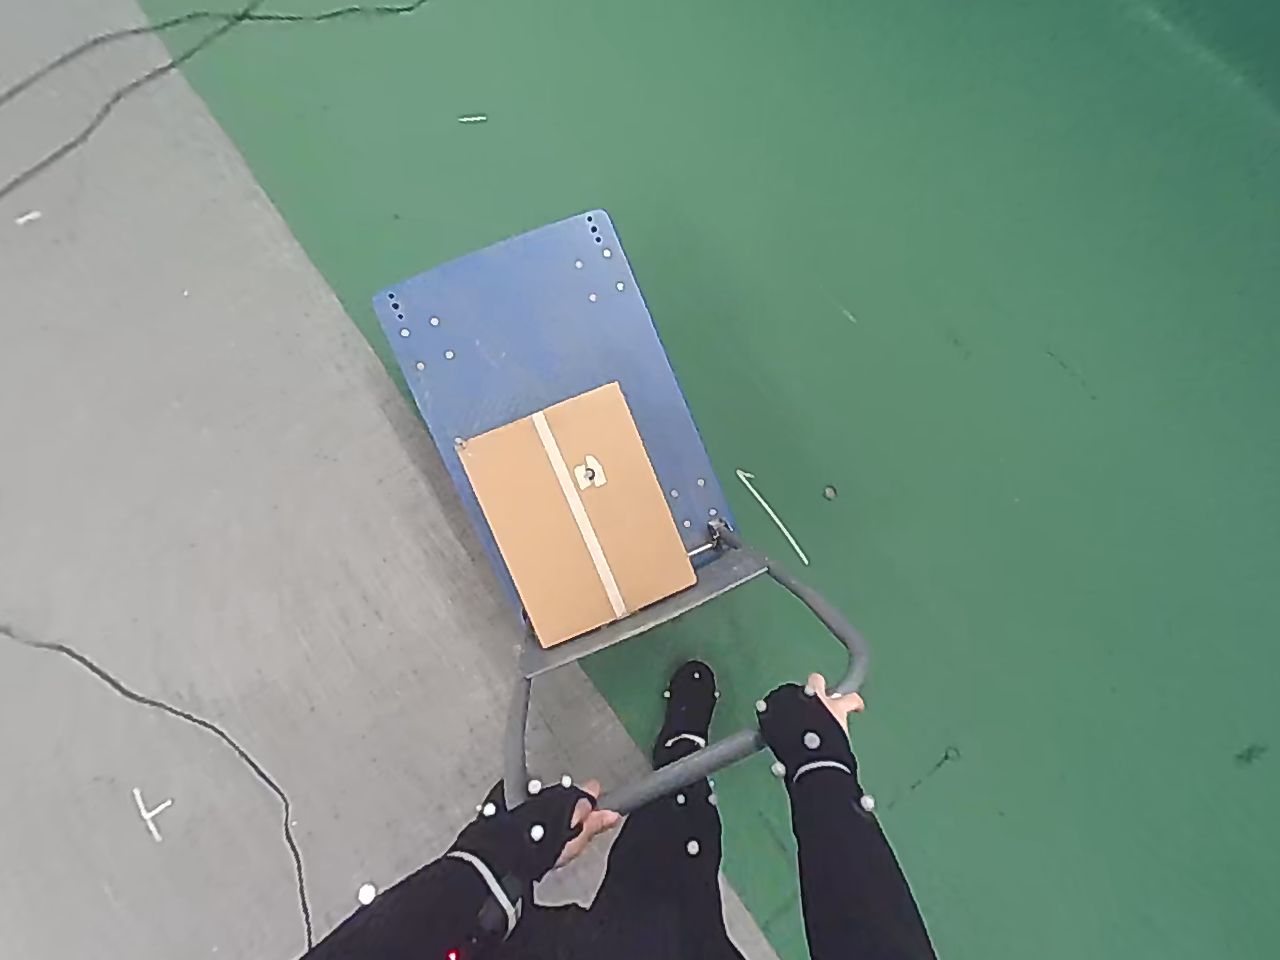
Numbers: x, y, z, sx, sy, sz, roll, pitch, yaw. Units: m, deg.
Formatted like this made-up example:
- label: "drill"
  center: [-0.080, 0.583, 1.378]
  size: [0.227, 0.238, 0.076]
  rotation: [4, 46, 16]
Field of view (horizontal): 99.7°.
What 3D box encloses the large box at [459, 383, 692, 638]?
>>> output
- label: "large box"
  center: [-0.126, 0.053, 1.153]
  size: [0.320, 0.320, 0.408]
  rotation: [-23, 94, -5]
